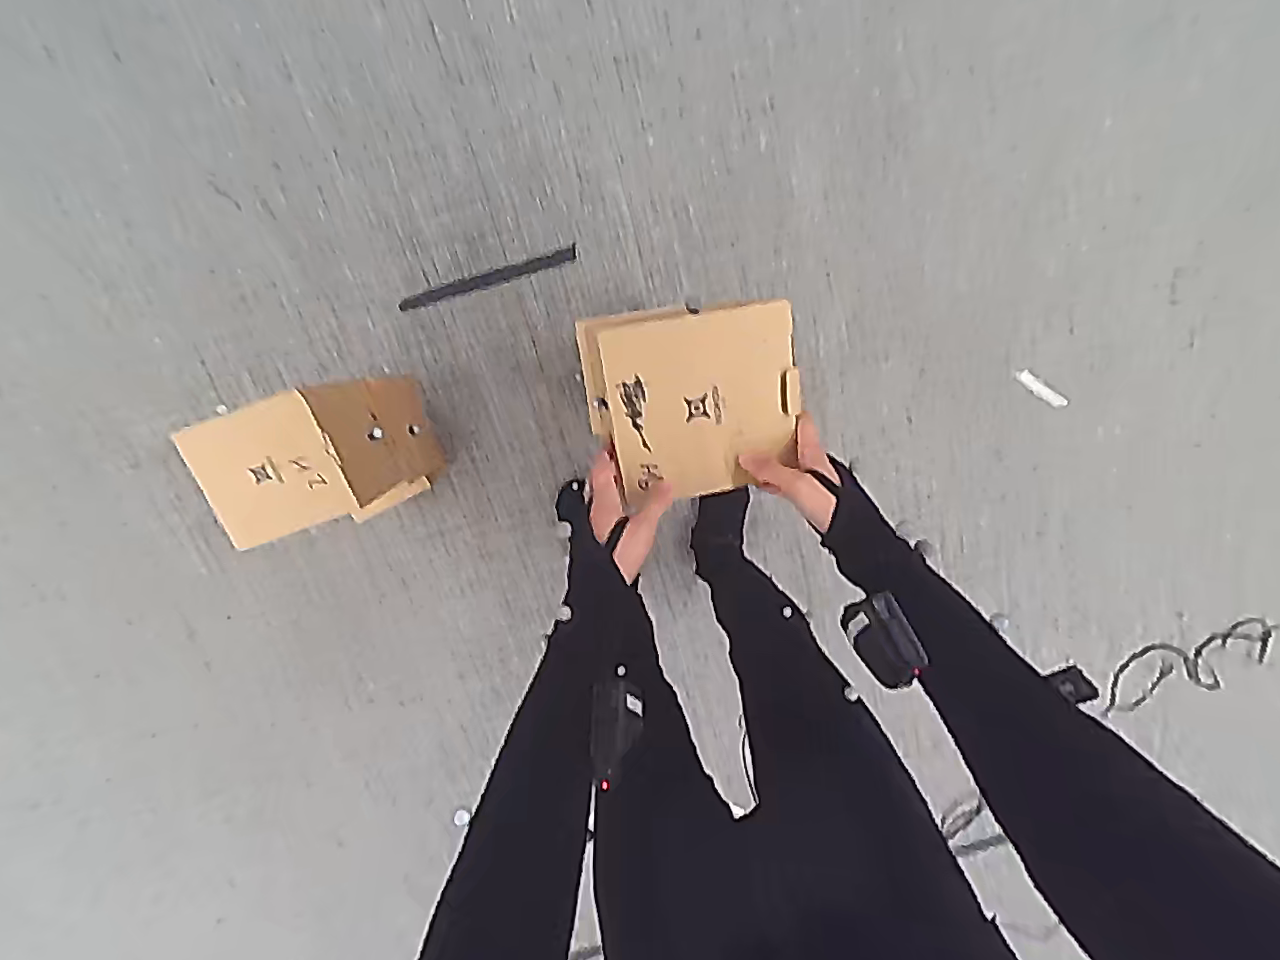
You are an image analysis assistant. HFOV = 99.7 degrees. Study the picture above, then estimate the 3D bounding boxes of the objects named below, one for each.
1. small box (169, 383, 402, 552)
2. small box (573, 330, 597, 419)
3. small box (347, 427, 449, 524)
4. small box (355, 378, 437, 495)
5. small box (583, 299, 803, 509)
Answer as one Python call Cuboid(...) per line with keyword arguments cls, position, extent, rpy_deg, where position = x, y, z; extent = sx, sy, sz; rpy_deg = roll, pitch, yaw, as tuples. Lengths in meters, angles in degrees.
Cuboid(cls="small box", position=(-0.467, -0.027, 0.745), extent=(0.179, 0.176, 0.168), rpy_deg=(-19, 105, 1))
Cuboid(cls="small box", position=(-0.024, -0.227, 1.070), extent=(0.179, 0.176, 0.168), rpy_deg=(-15, 105, -2))
Cuboid(cls="small box", position=(-0.511, -0.042, 1.076), extent=(0.168, 0.176, 0.179), rpy_deg=(-26, 105, 3))
Cuboid(cls="small box", position=(-0.464, -0.071, 0.904), extent=(0.168, 0.176, 0.179), rpy_deg=(-12, 105, 0))
Cuboid(cls="small box", position=(0.046, -0.089, 0.551), extent=(0.179, 0.176, 0.168), rpy_deg=(-11, 109, -7))
